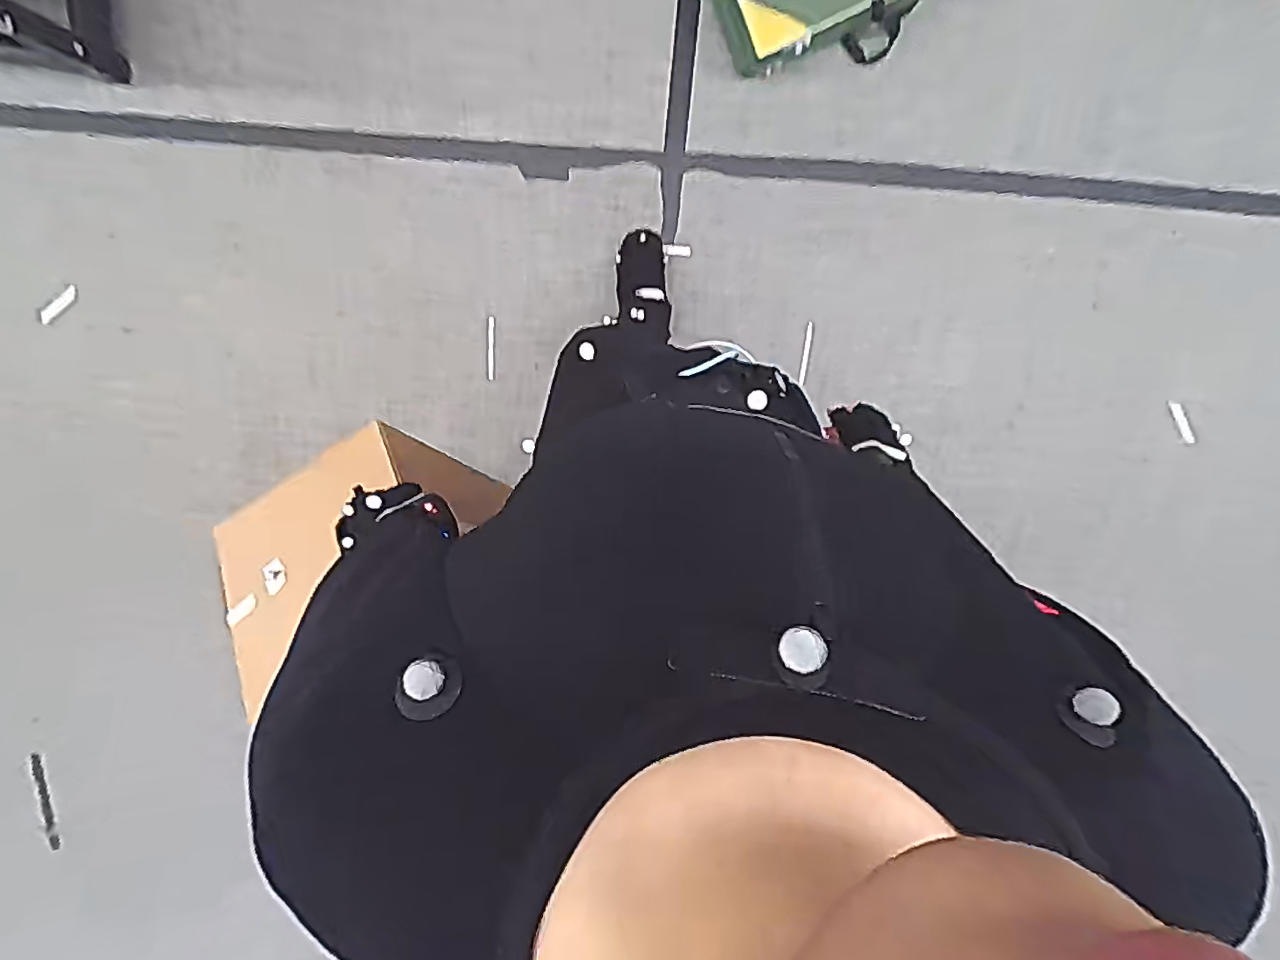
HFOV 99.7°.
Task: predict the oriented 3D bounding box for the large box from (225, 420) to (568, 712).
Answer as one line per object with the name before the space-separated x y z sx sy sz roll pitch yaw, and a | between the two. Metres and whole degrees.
large box | -0.387 0.162 0.928 0.320 0.408 0.320 -30 67 7
